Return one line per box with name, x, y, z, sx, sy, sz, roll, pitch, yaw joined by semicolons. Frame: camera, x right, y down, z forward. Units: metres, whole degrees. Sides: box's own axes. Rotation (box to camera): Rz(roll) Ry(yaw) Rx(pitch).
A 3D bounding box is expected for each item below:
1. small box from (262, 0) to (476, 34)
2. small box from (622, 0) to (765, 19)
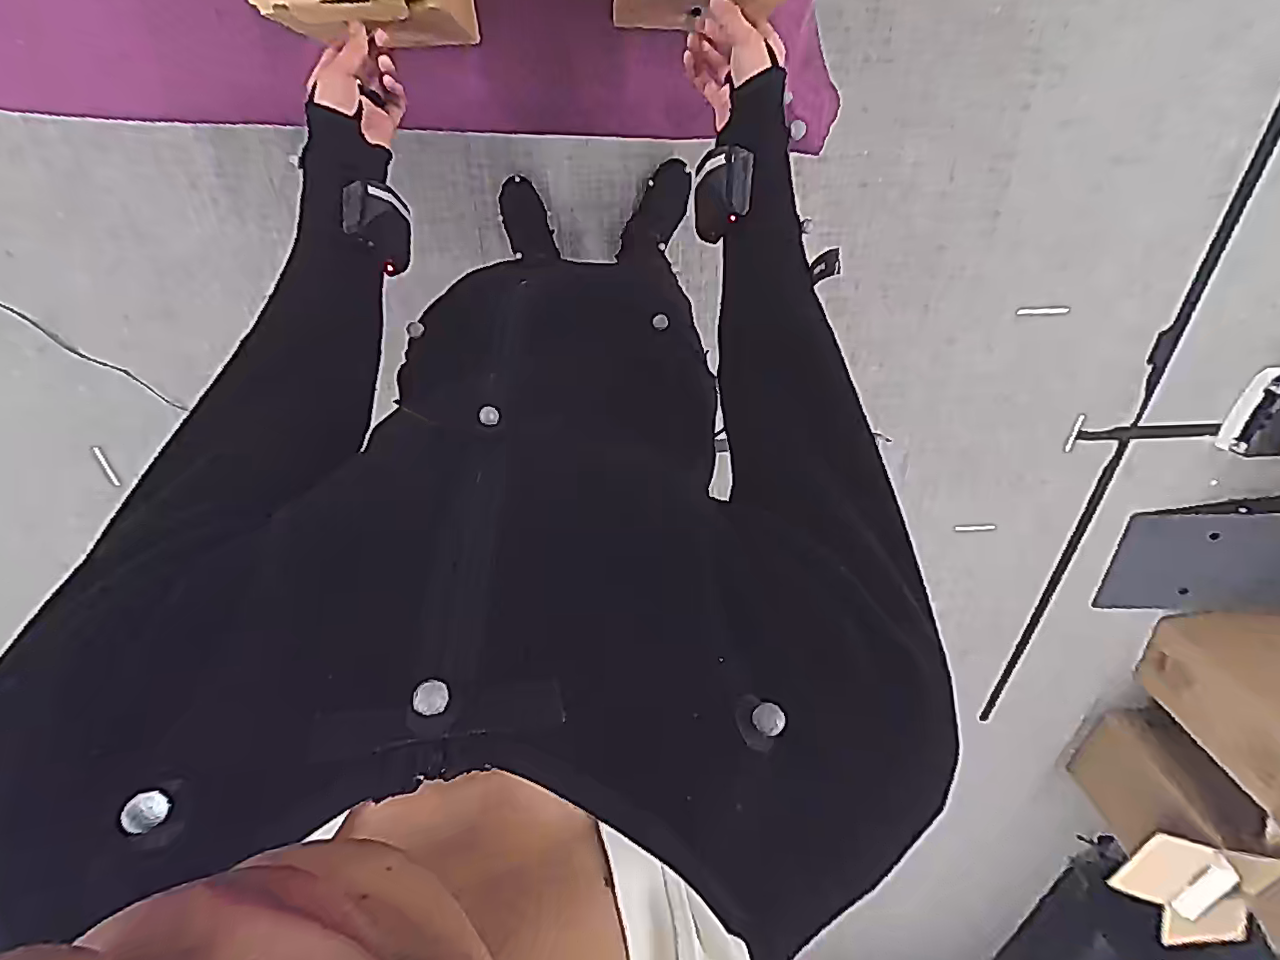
small box;-0.263;-0.541;0.504;0.168;0.176;0.179;-3;119;-2
small box;0.058;-0.563;0.507;0.168;0.176;0.179;1;119;-3
